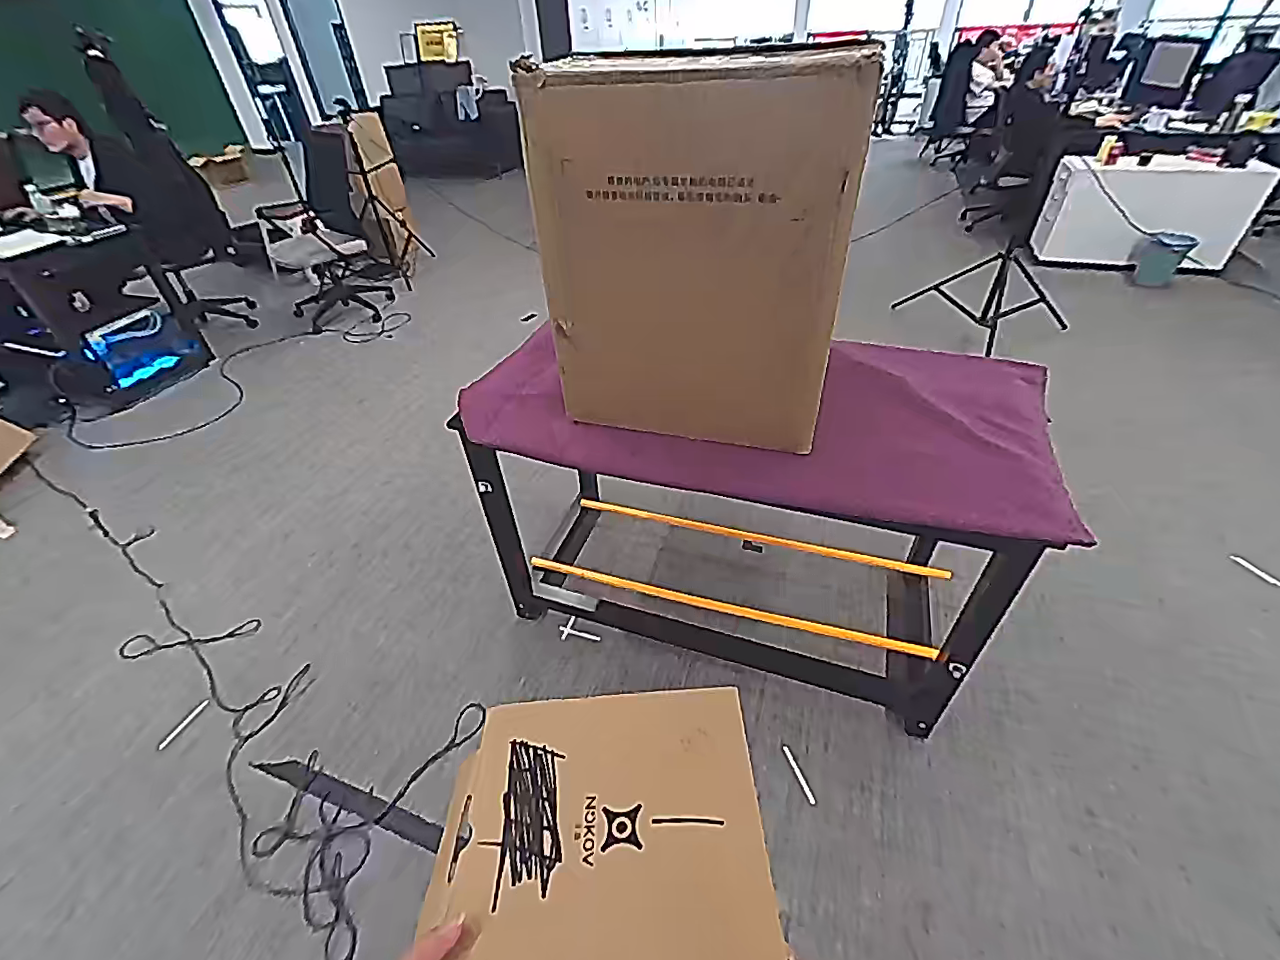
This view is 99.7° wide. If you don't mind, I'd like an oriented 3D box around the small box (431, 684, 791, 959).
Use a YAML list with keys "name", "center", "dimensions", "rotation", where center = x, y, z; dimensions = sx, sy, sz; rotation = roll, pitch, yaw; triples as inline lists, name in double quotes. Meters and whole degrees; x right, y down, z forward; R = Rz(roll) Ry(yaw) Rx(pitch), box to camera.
- name: "small box"
  center: [-0.007, 0.259, 0.351]
  dimensions: [0.179, 0.176, 0.168]
  rotation: [-5, 35, 3]
